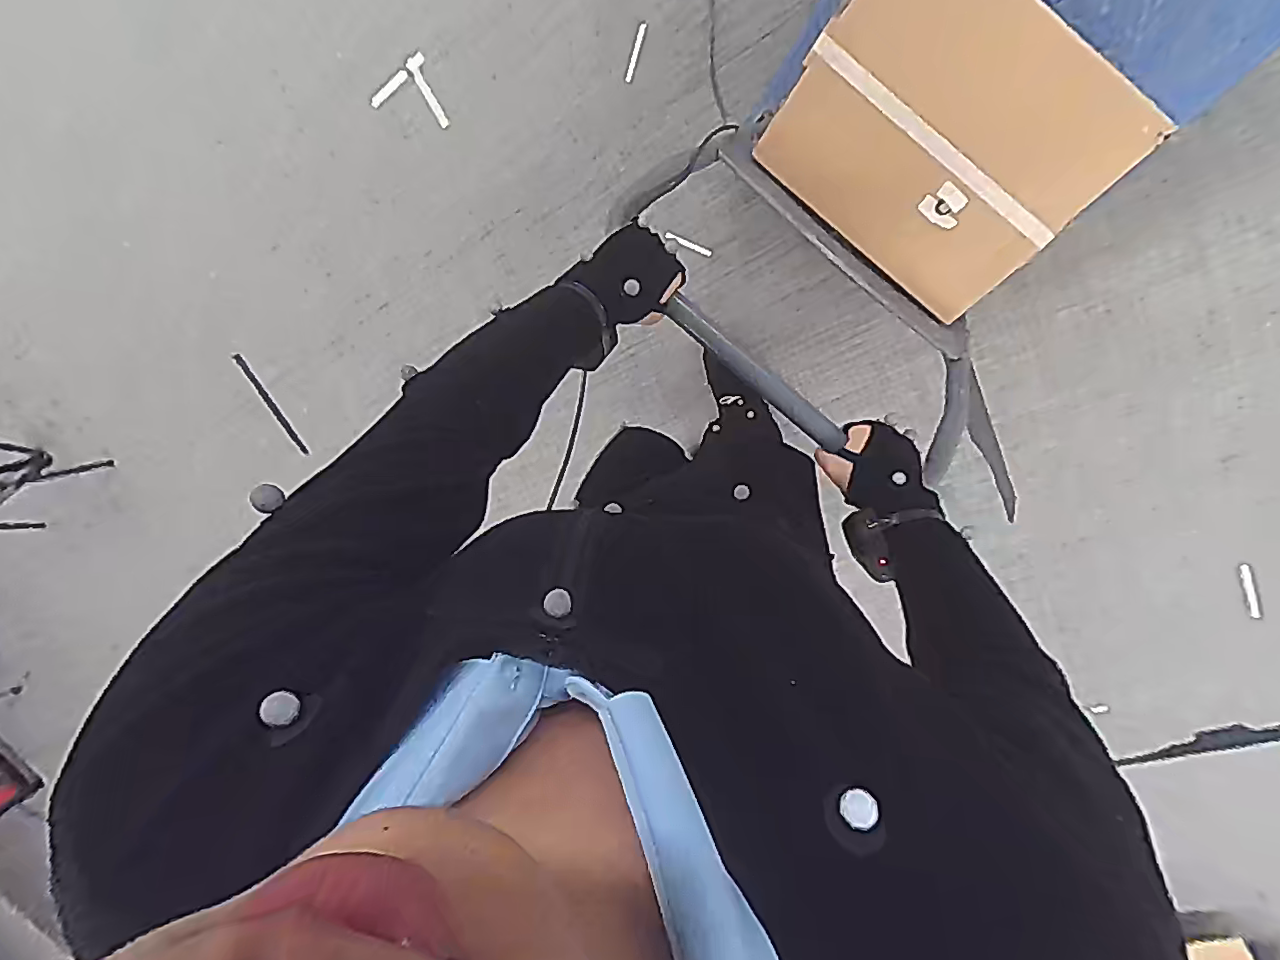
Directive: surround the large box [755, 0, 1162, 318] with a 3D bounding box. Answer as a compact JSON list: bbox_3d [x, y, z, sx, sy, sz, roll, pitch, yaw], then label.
[{"bbox_3d":[0.458,-0.540,0.853,0.408,0.320,0.320,39,133,-3],"label":"large box"}]
